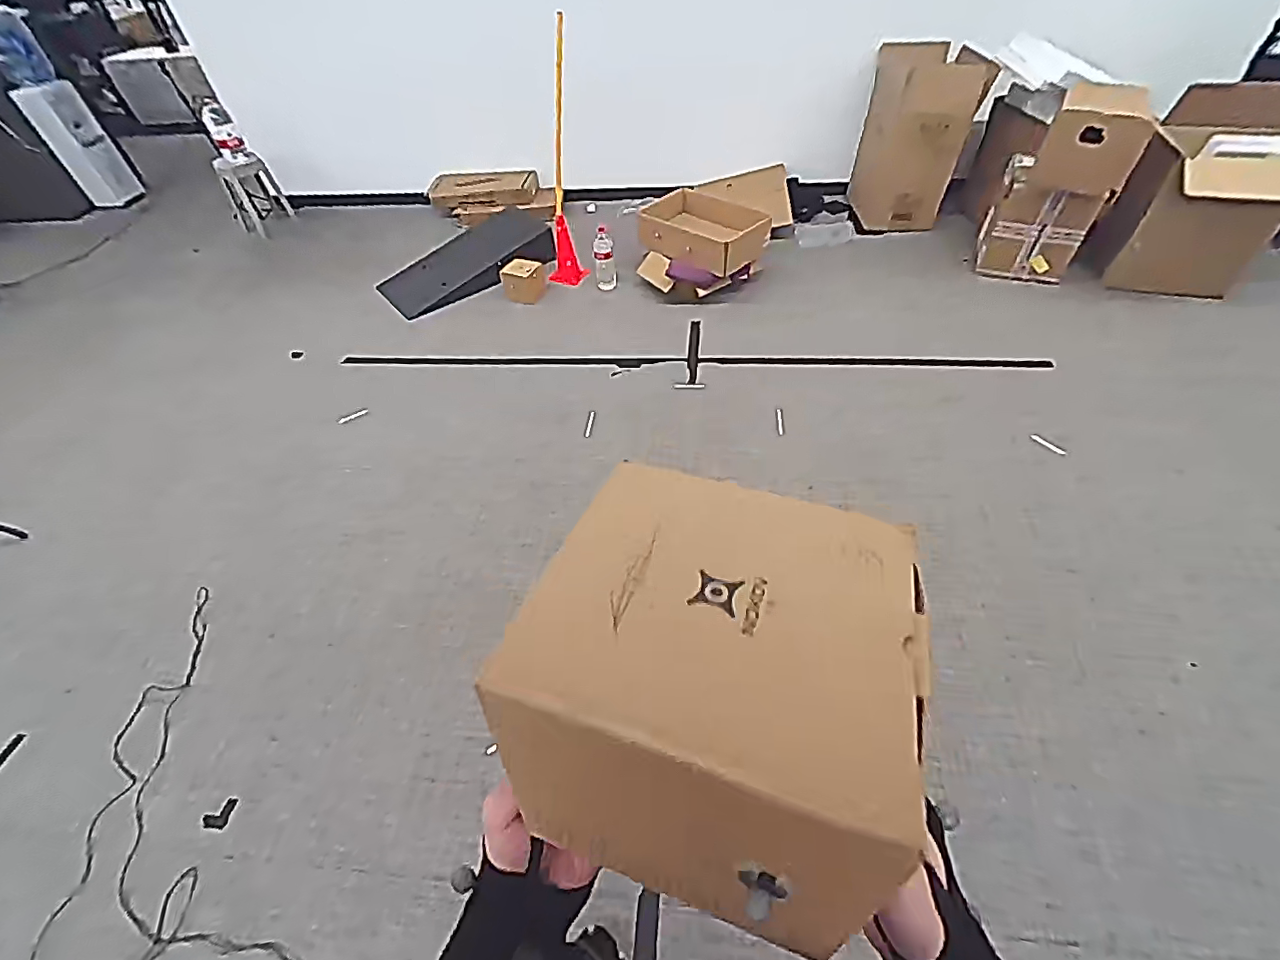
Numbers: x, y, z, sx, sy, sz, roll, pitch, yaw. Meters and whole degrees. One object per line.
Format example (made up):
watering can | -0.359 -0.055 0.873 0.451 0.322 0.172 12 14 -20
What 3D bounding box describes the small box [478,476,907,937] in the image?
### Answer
small box | 0.039 0.127 0.317 0.179 0.176 0.168 13 41 16
